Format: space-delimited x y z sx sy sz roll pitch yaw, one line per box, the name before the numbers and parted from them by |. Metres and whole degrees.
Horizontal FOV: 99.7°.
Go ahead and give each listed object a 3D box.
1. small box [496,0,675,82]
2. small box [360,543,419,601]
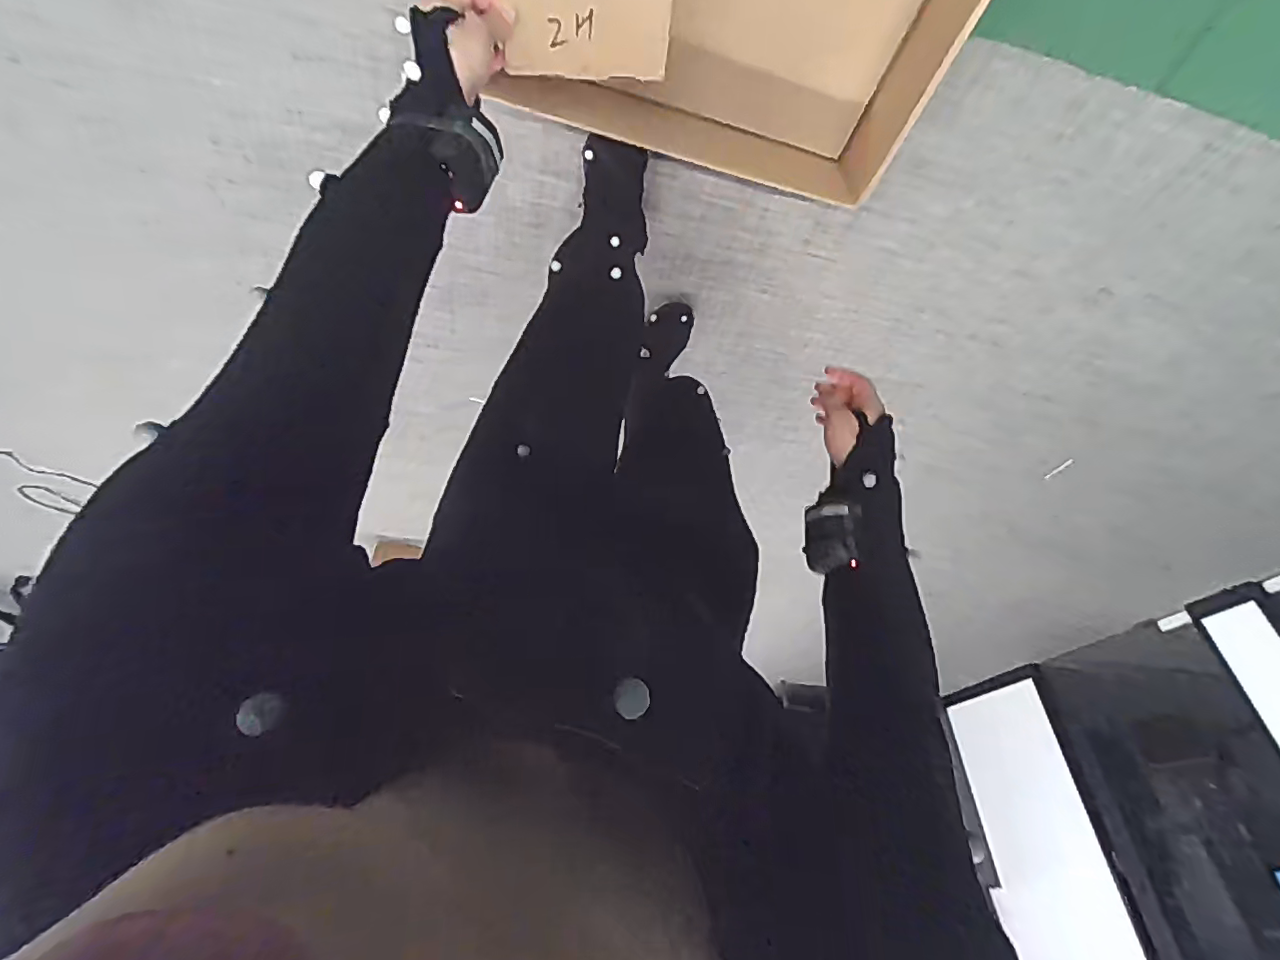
small box | -0.061 -0.528 0.538 0.168 0.176 0.179 -6 141 -12
small box | -0.990 0.367 2.153 0.179 0.176 0.168 10 143 -11
